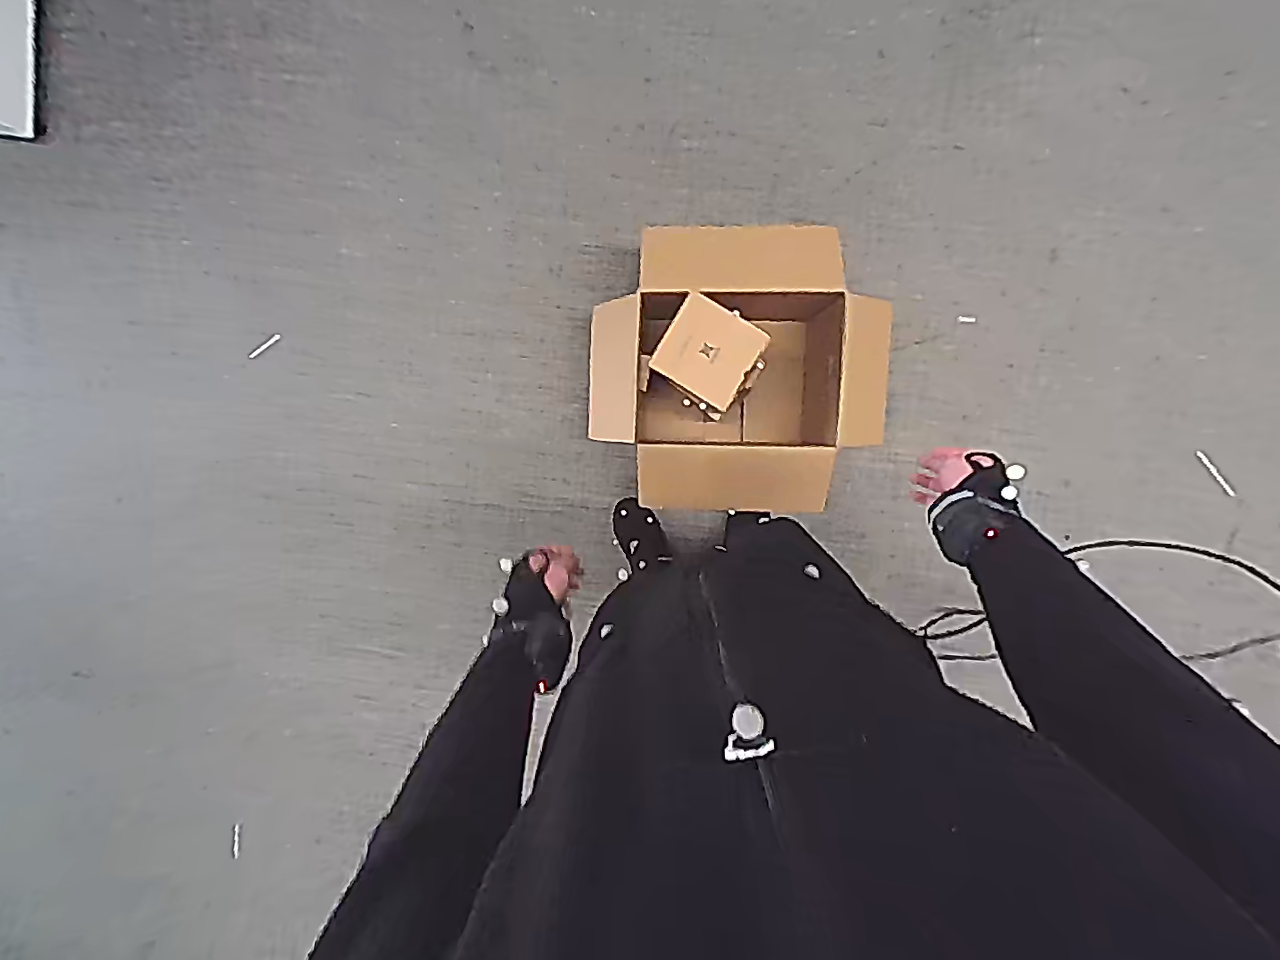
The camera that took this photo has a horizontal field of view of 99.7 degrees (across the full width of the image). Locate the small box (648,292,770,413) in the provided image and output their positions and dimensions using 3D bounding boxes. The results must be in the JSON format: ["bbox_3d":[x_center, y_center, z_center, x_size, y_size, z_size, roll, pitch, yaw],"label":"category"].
[{"bbox_3d":[0.140,-0.251,1.101,0.179,0.176,0.168,33,99,4],"label":"small box"}]
